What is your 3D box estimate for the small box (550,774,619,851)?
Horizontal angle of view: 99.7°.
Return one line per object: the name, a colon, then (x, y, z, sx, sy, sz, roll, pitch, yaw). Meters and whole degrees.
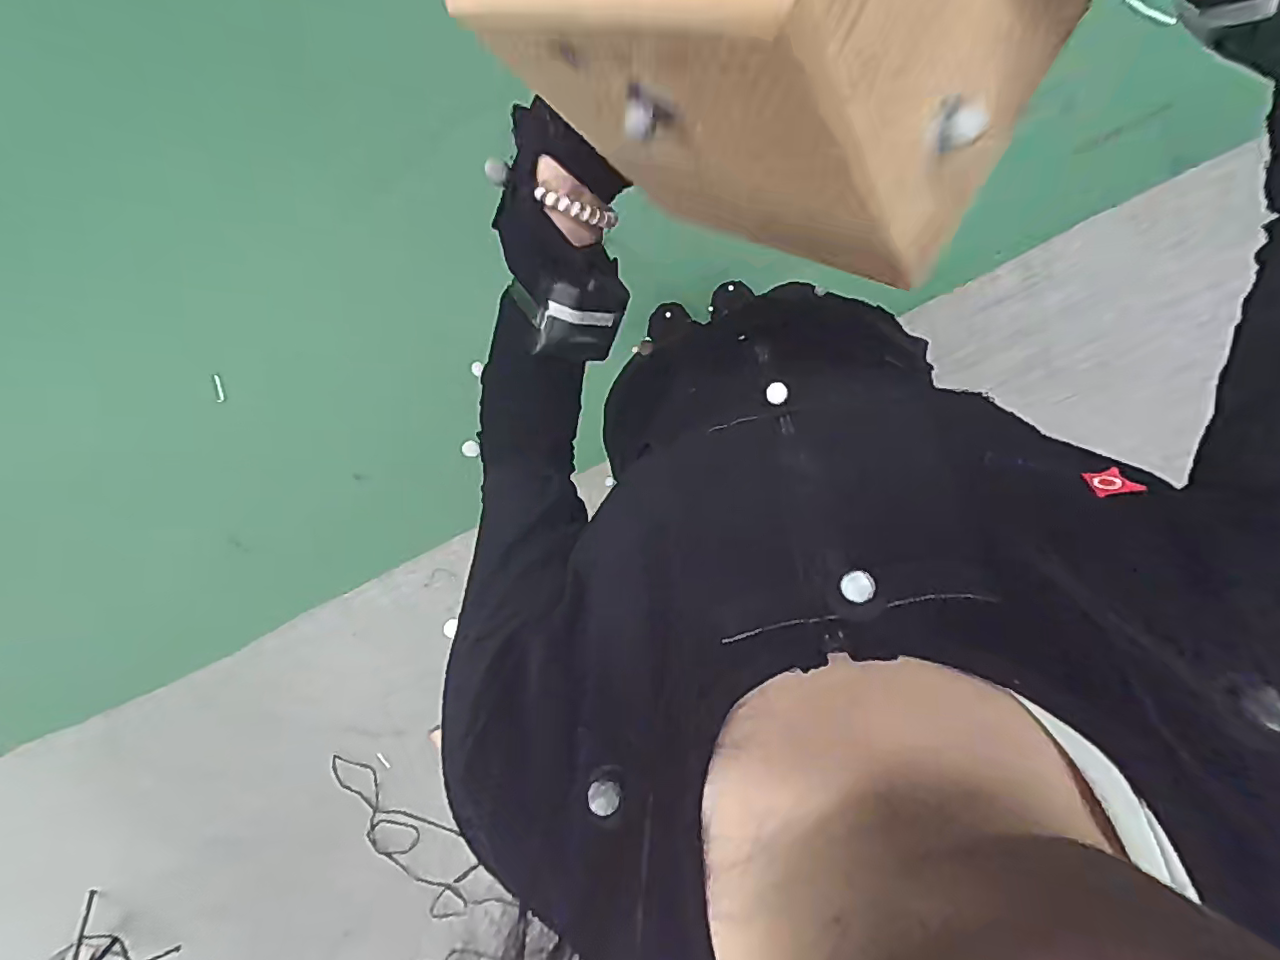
small box: (-0.182, 1.138, 1.829, 0.179, 0.176, 0.168, -31, 105, 13)
